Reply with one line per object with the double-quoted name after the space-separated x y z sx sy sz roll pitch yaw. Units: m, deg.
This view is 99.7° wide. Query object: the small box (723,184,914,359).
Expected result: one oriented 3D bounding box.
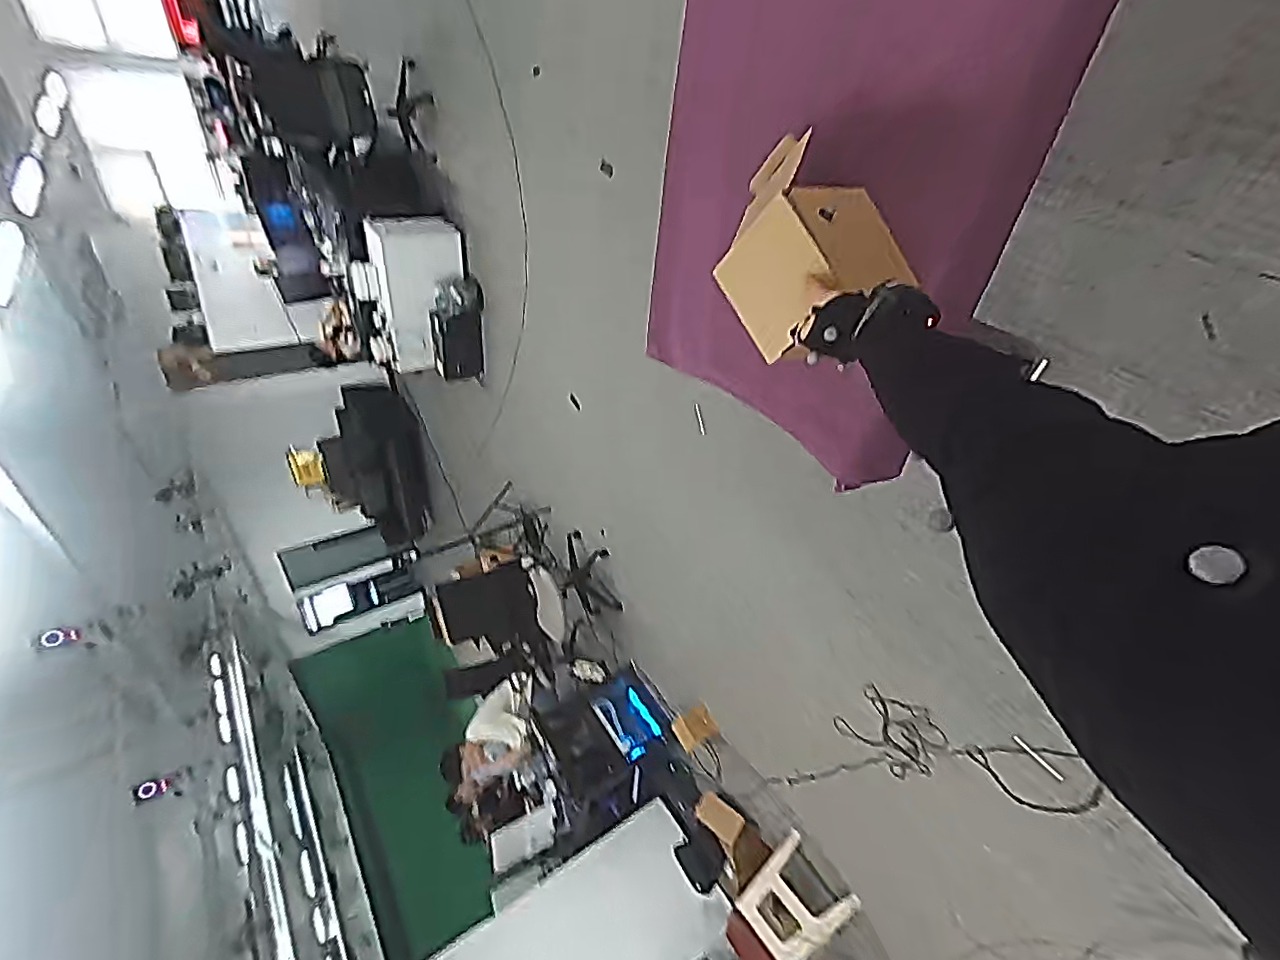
0.261 -0.304 0.801 0.168 0.176 0.179 -38 73 58 "small box"
